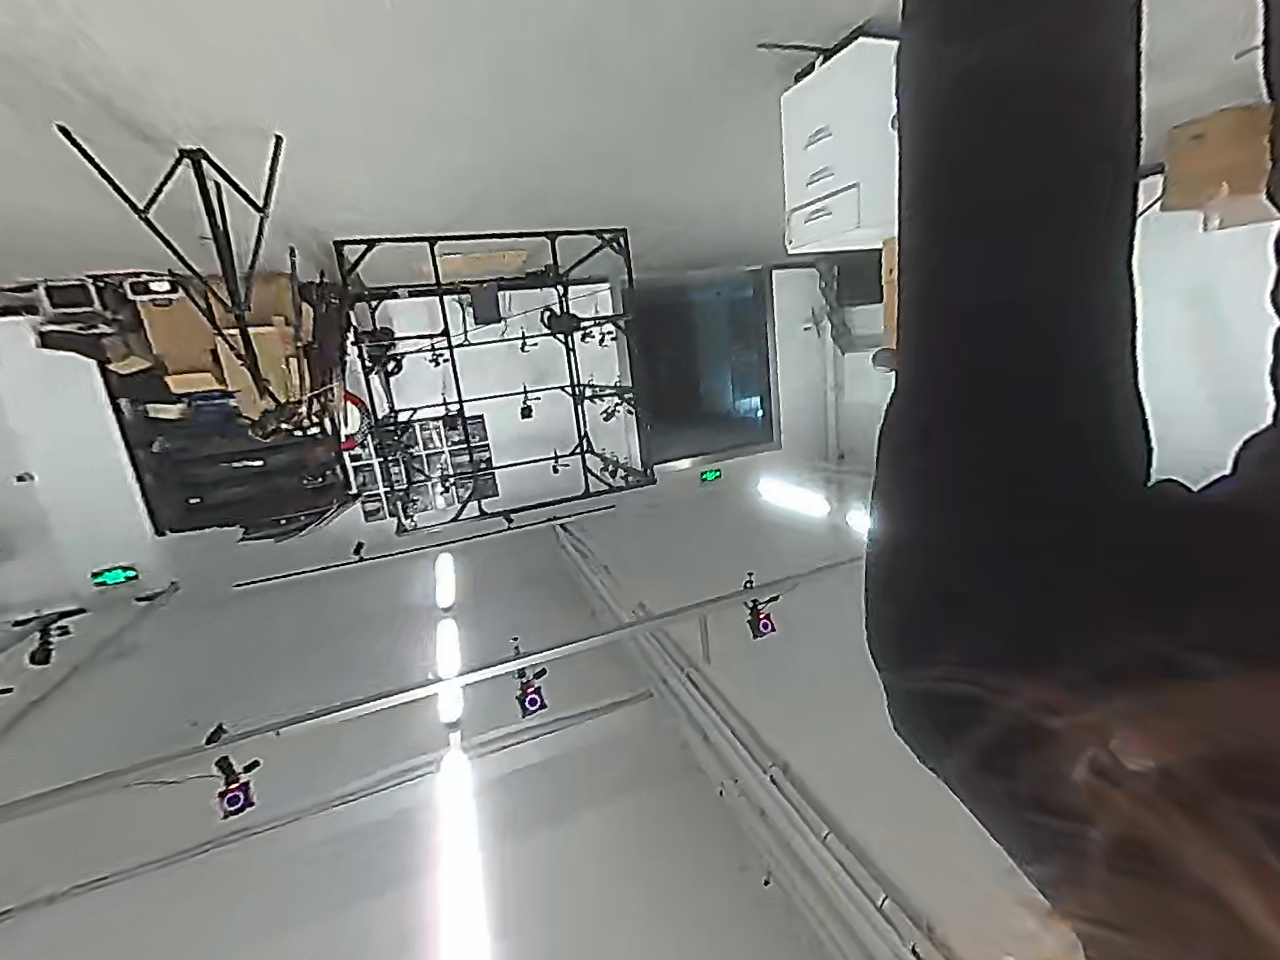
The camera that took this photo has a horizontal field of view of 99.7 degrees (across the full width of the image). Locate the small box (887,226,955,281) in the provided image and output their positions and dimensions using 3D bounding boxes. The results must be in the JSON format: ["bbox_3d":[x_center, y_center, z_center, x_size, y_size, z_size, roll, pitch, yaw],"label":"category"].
[{"bbox_3d":[1.073,-0.862,2.063,0.168,0.176,0.179,-12,-164,-19],"label":"small box"}]

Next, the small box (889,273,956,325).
[{"bbox_3d":[1.095,-0.703,2.100,0.179,0.176,0.168,-13,-164,-19],"label":"small box"}]
